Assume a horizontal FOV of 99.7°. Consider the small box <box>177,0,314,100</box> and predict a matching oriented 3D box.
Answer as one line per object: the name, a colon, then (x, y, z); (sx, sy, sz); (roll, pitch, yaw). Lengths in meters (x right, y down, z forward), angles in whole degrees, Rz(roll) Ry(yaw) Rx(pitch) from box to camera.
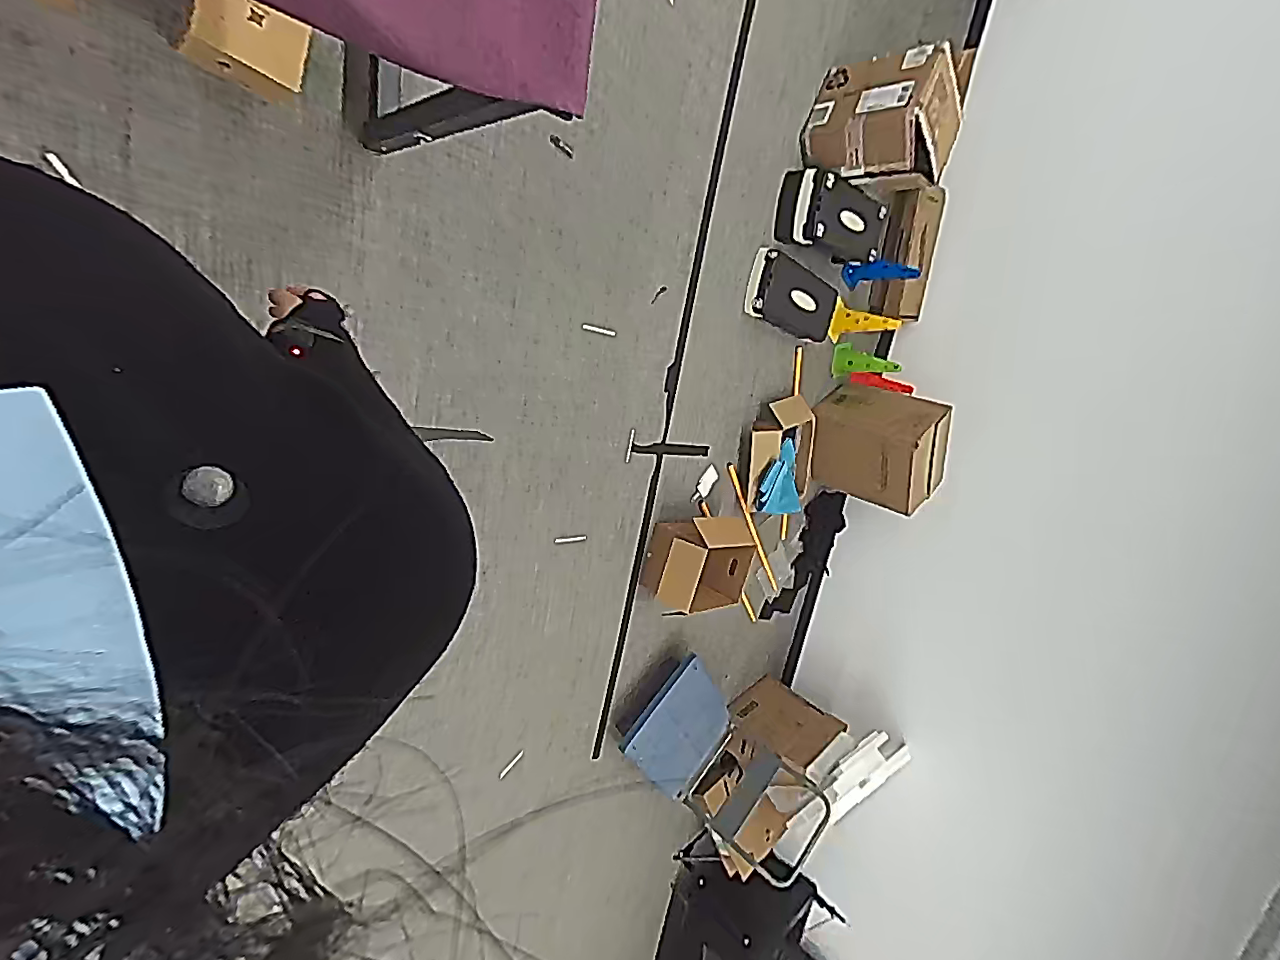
small box: (-0.743, -0.857, 1.015); (0.168, 0.176, 0.179); (10, 99, -48)
